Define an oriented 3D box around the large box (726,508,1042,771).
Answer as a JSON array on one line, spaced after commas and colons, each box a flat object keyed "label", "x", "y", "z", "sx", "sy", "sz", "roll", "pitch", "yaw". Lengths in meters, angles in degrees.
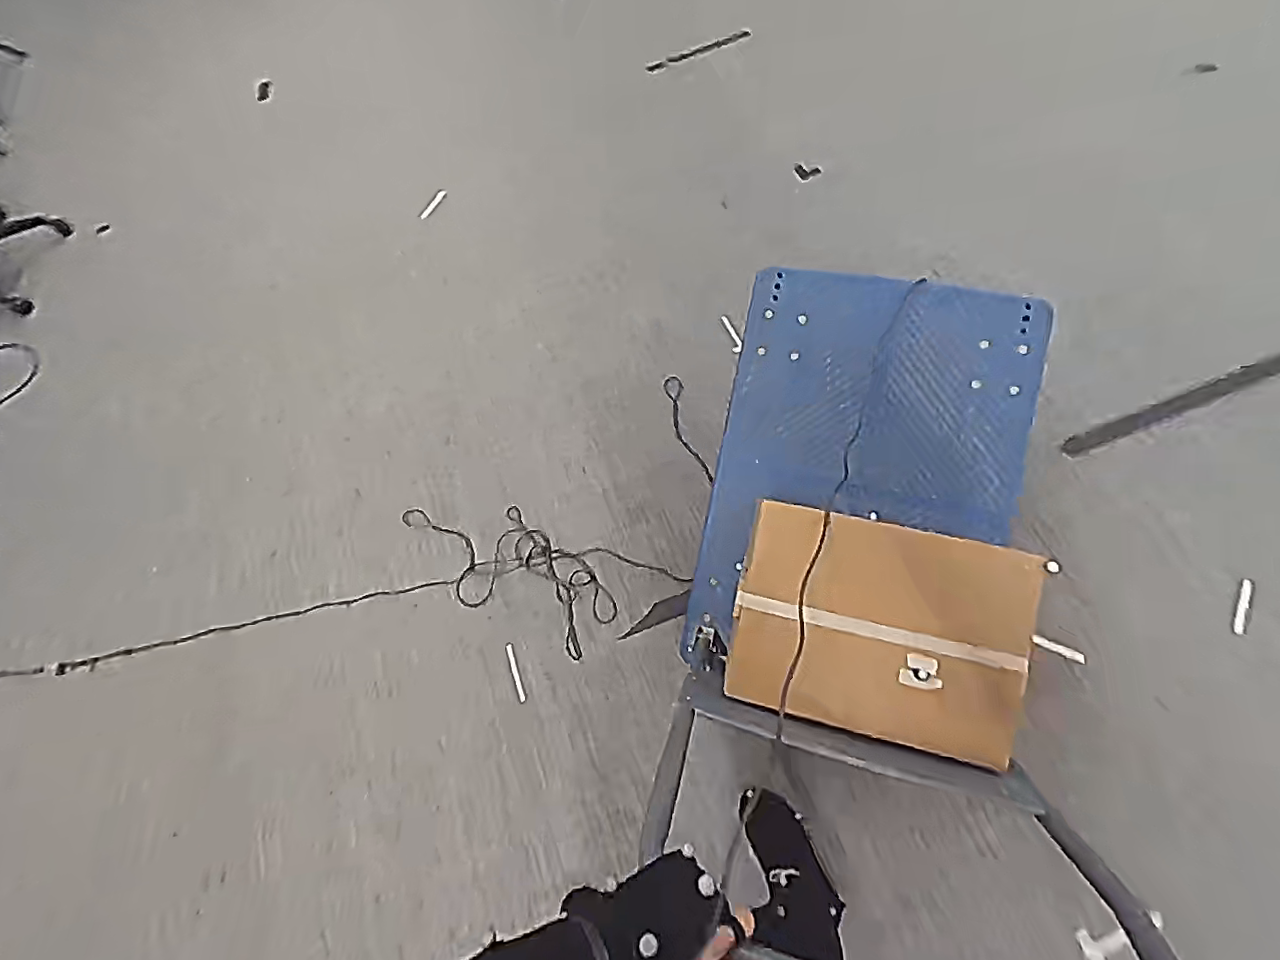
[{"label": "large box", "x": 0.374, "y": 0.234, "z": 0.943, "sx": 0.408, "sy": 0.320, "sz": 0.320, "roll": 12, "pitch": 90, "yaw": 10}]
